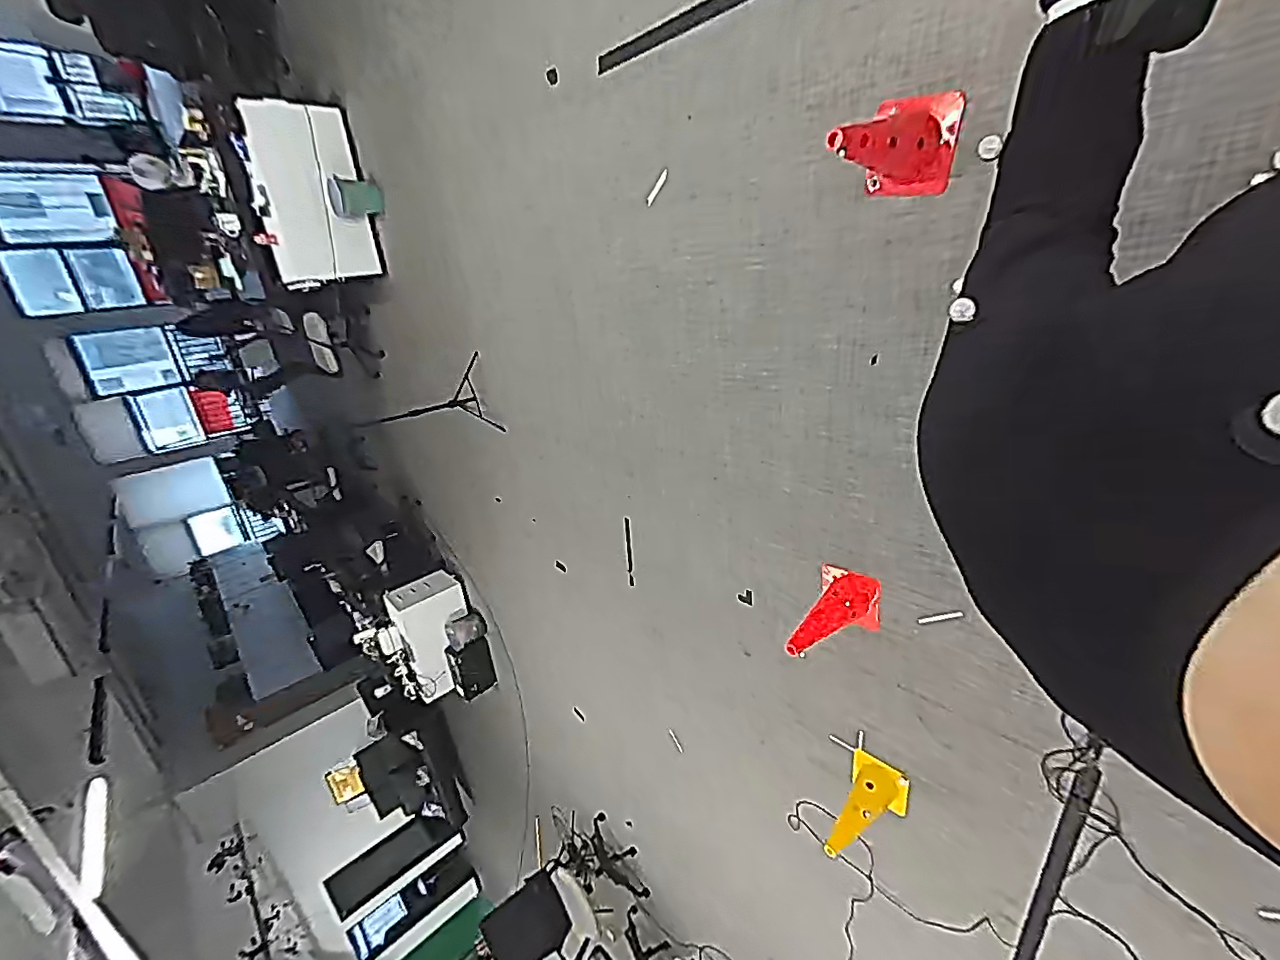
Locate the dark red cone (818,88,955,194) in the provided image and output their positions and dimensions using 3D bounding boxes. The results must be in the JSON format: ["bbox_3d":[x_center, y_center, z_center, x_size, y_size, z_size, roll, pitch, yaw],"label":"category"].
[{"bbox_3d":[0.493,-0.724,1.153,0.201,0.394,0.202,24,127,40],"label":"dark red cone"}]

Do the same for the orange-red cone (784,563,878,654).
[{"bbox_3d":[0.576,0.446,1.715,0.198,0.360,0.199,16,122,47],"label":"orange-red cone"}]
